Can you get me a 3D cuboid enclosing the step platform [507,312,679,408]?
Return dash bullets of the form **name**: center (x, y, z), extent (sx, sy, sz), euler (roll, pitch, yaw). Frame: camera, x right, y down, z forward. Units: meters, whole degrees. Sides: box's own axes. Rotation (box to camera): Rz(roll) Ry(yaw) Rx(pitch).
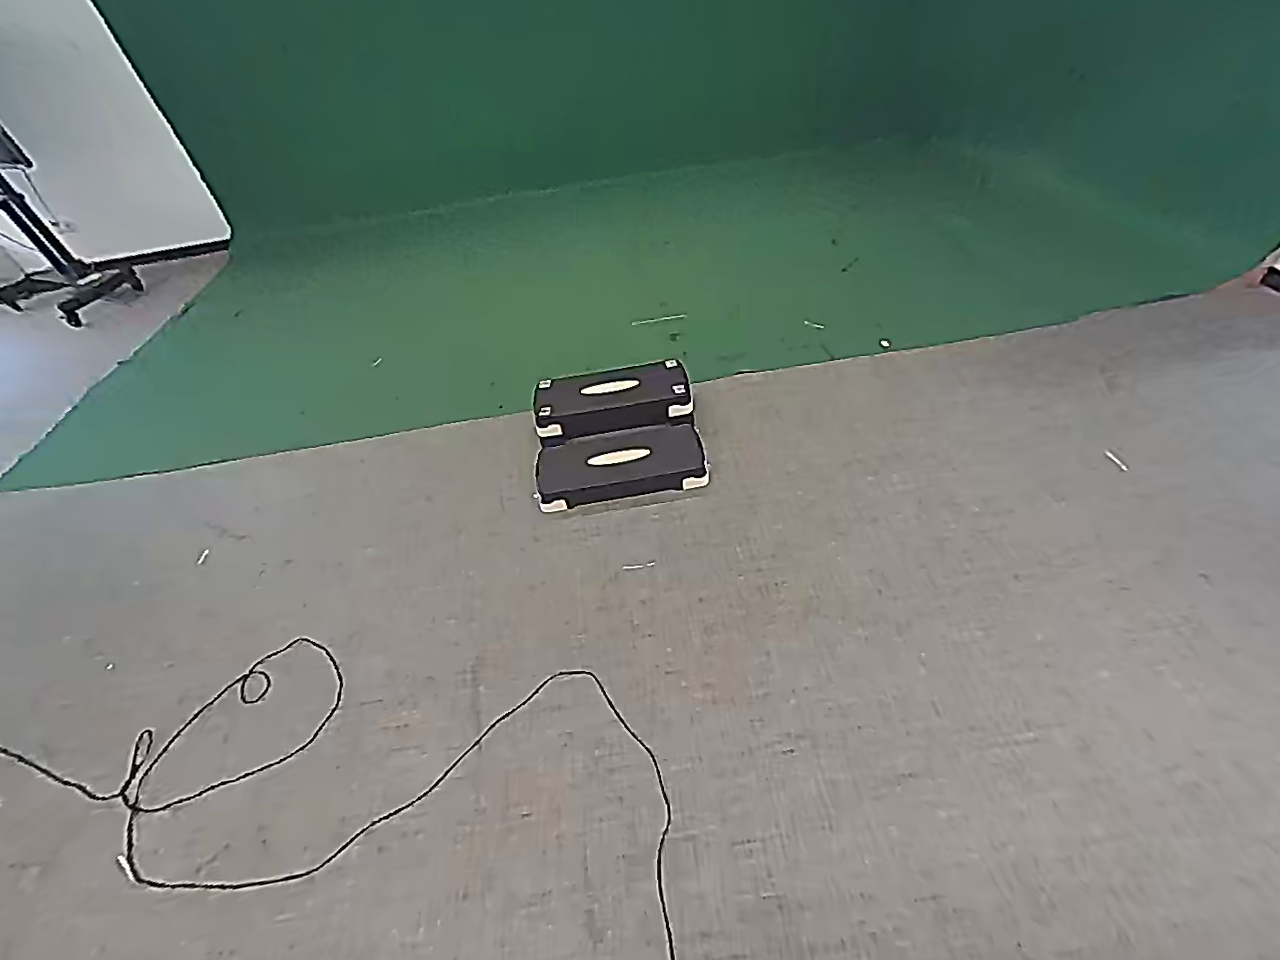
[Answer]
- **step platform**: center (-0.185, -0.494, 2.225), extent (0.684, 0.204, 0.286), euler (-10, 45, 0)
